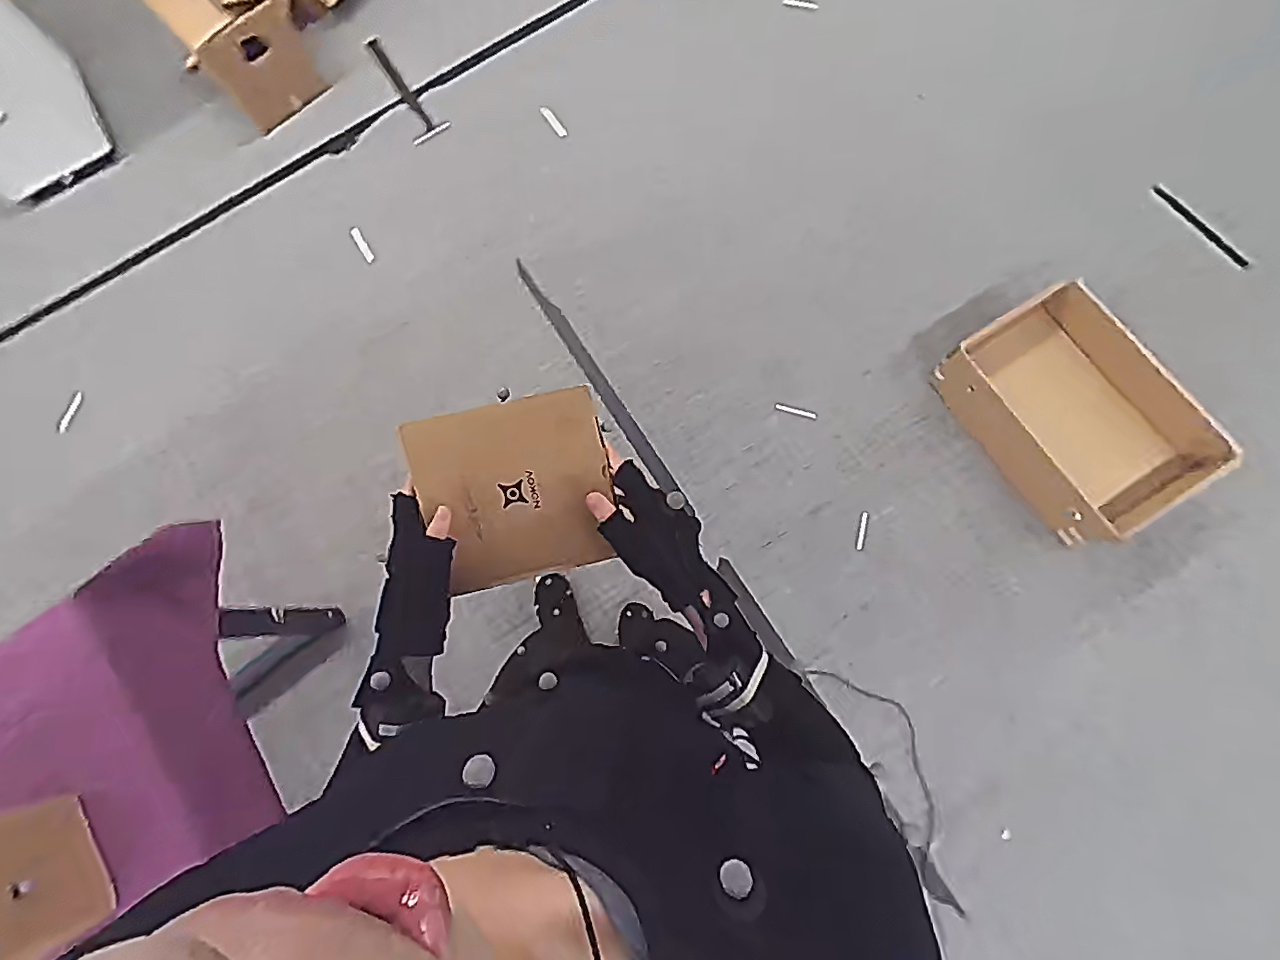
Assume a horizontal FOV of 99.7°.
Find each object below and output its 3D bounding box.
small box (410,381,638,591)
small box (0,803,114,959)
[{"bbox_3d":[-0.110,-0.005,0.568,0.179,0.176,0.168,-13,98,-3],"label":"small box"},{"bbox_3d":[-0.839,0.557,0.684,0.168,0.176,0.179,-37,78,-5],"label":"small box"}]
